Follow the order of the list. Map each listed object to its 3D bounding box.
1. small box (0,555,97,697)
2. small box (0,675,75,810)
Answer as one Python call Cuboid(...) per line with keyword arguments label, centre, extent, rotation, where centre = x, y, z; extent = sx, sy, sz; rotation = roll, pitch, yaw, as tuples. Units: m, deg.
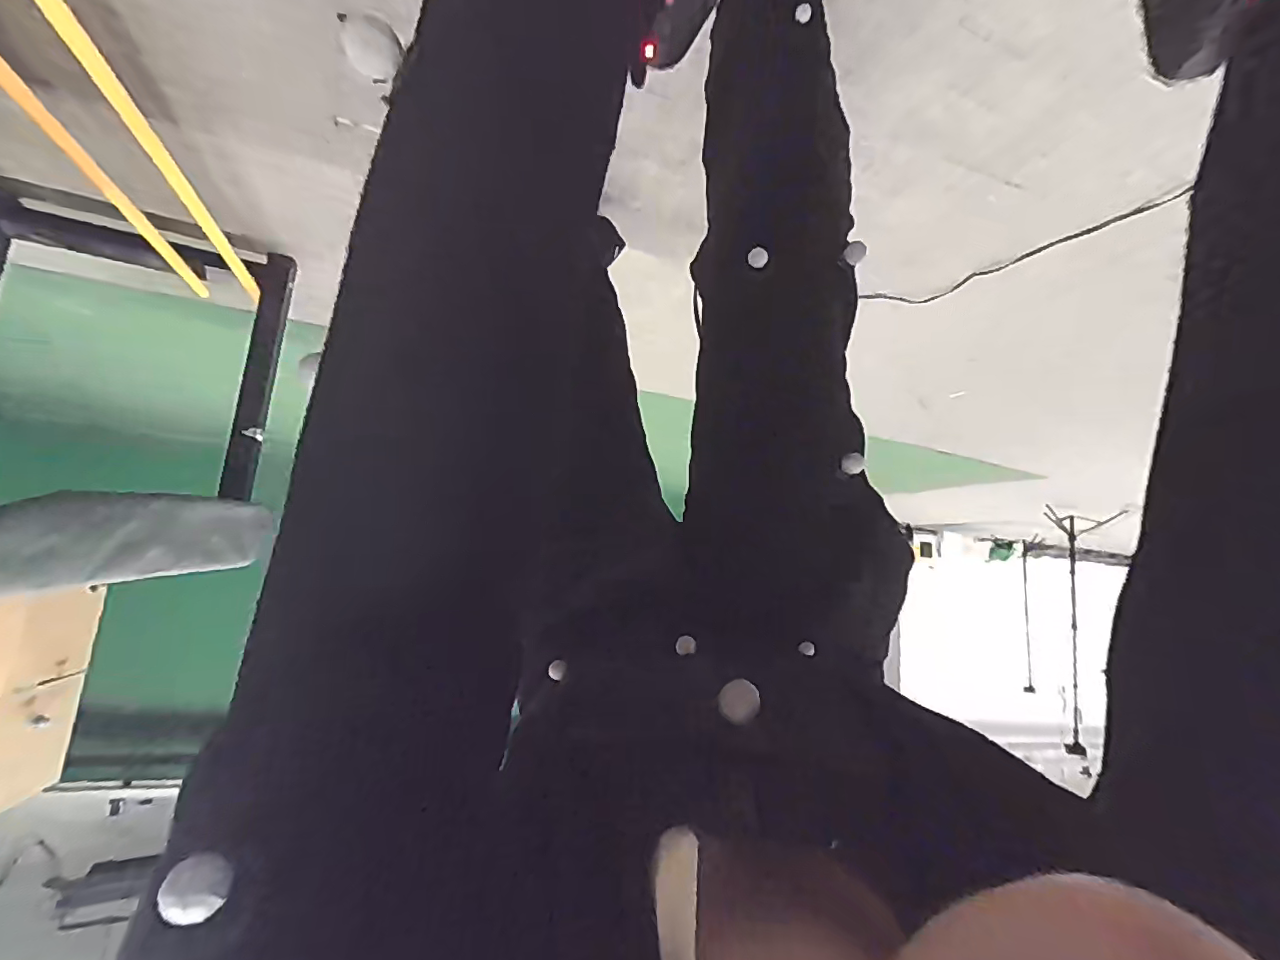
Cuboid(label="small box", centre=(-0.935, 0.201, 0.770), extent=(0.179, 0.176, 0.168), rotation=(9, 170, -15))
Cuboid(label="small box", centre=(-0.955, 0.362, 0.744), extent=(0.179, 0.176, 0.168), rotation=(8, 171, -13))
